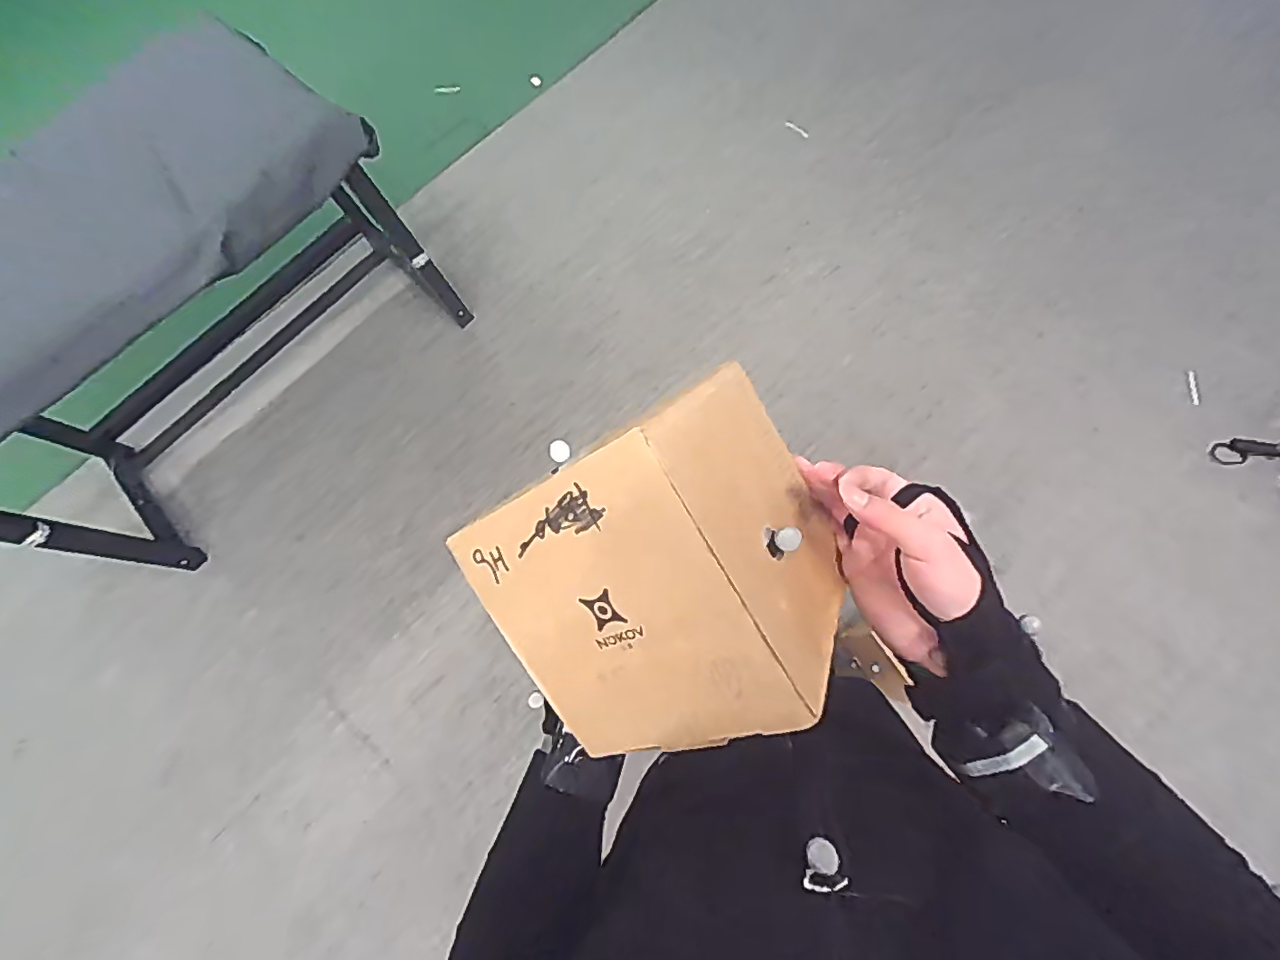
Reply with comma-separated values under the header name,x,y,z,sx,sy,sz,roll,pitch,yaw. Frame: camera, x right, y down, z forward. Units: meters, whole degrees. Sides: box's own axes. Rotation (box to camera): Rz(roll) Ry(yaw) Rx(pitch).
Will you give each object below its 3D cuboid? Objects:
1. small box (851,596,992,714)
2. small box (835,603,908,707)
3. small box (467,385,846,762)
name,x,y,z,sx,sy,sz,roll,pitch,yaw
small box,0.575,0.363,1.133,0.179,0.176,0.168,-31,70,-3
small box,0.595,0.414,1.289,0.179,0.176,0.168,-33,70,-3
small box,0.027,0.058,0.377,0.168,0.176,0.179,-26,99,32
